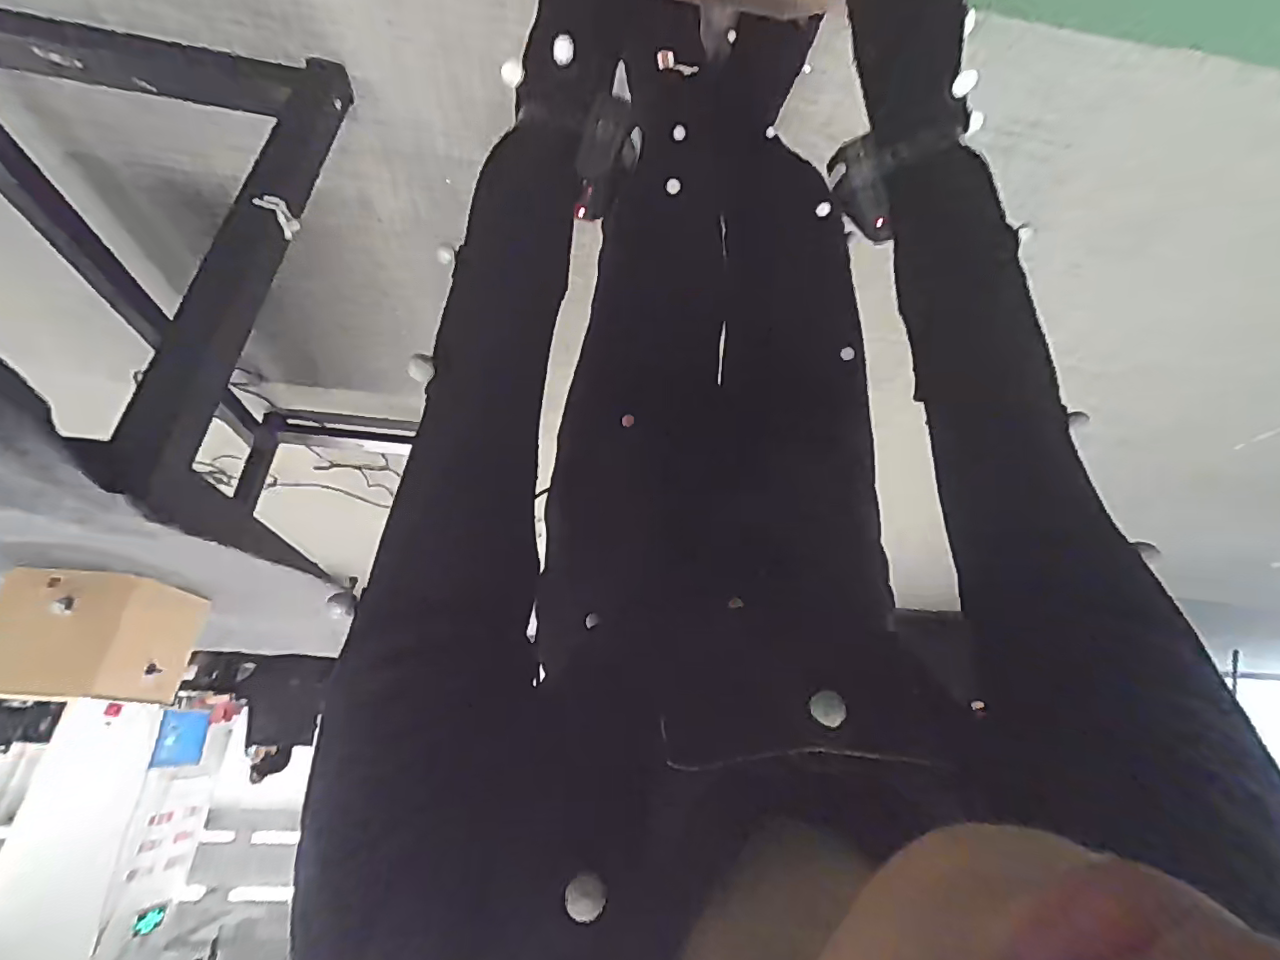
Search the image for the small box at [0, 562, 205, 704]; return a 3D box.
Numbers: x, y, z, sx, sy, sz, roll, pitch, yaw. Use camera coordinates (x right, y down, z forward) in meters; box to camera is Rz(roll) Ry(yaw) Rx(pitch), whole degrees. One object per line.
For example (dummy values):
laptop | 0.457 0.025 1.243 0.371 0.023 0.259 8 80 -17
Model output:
small box | -0.799 0.231 0.797 0.168 0.176 0.179 5 153 -6
